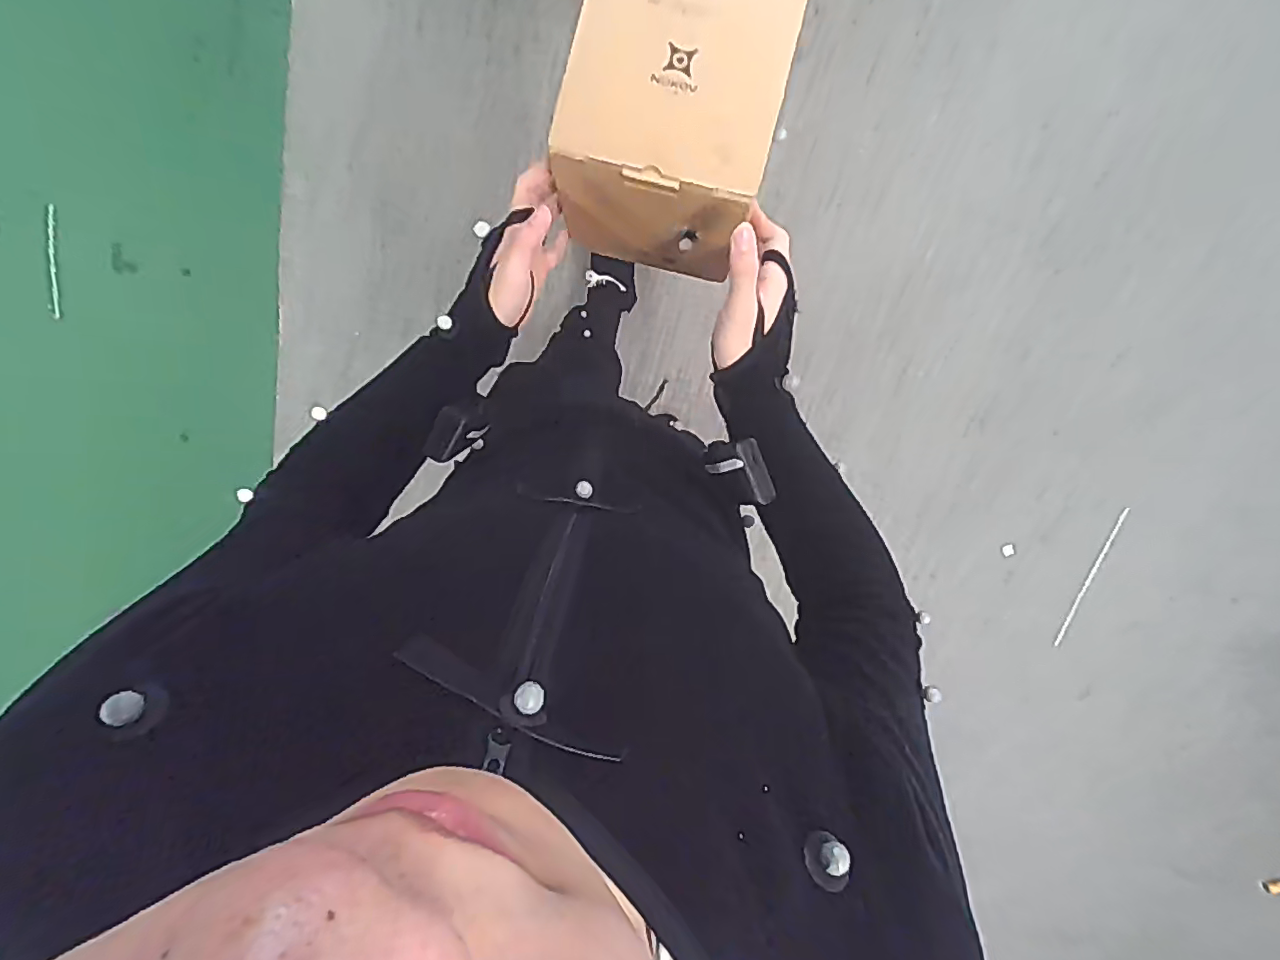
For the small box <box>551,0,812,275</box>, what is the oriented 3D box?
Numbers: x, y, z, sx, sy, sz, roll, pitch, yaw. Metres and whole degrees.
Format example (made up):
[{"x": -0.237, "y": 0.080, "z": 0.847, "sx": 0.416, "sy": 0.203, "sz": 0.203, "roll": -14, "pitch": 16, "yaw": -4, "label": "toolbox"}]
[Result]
[{"x": 0.032, "y": -0.313, "z": 0.489, "sx": 0.168, "sy": 0.176, "sz": 0.179, "roll": 15, "pitch": 88, "yaw": -1, "label": "small box"}]
